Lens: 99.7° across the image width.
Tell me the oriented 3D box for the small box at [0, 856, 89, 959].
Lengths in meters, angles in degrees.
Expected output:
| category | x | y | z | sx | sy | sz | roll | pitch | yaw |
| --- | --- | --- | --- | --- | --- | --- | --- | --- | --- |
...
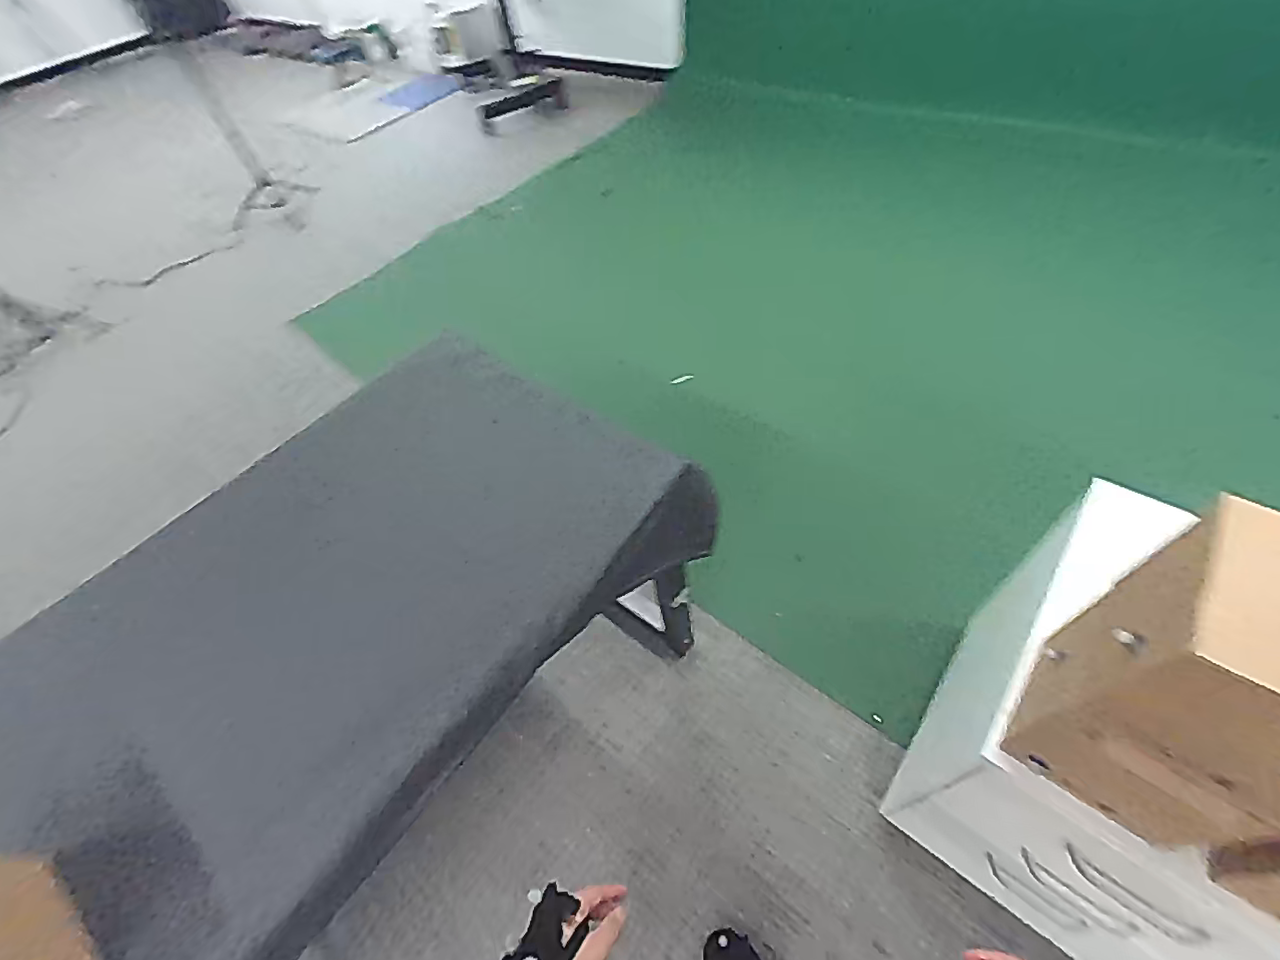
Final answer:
| category | x | y | z | sx | sy | sz | roll | pitch | yaw |
| --- | --- | --- | --- | --- | --- | --- | --- | --- | --- |
| small box | -0.622 | 0.433 | 0.439 | 0.179 | 0.176 | 0.168 | 25 | 60 | 25 |
